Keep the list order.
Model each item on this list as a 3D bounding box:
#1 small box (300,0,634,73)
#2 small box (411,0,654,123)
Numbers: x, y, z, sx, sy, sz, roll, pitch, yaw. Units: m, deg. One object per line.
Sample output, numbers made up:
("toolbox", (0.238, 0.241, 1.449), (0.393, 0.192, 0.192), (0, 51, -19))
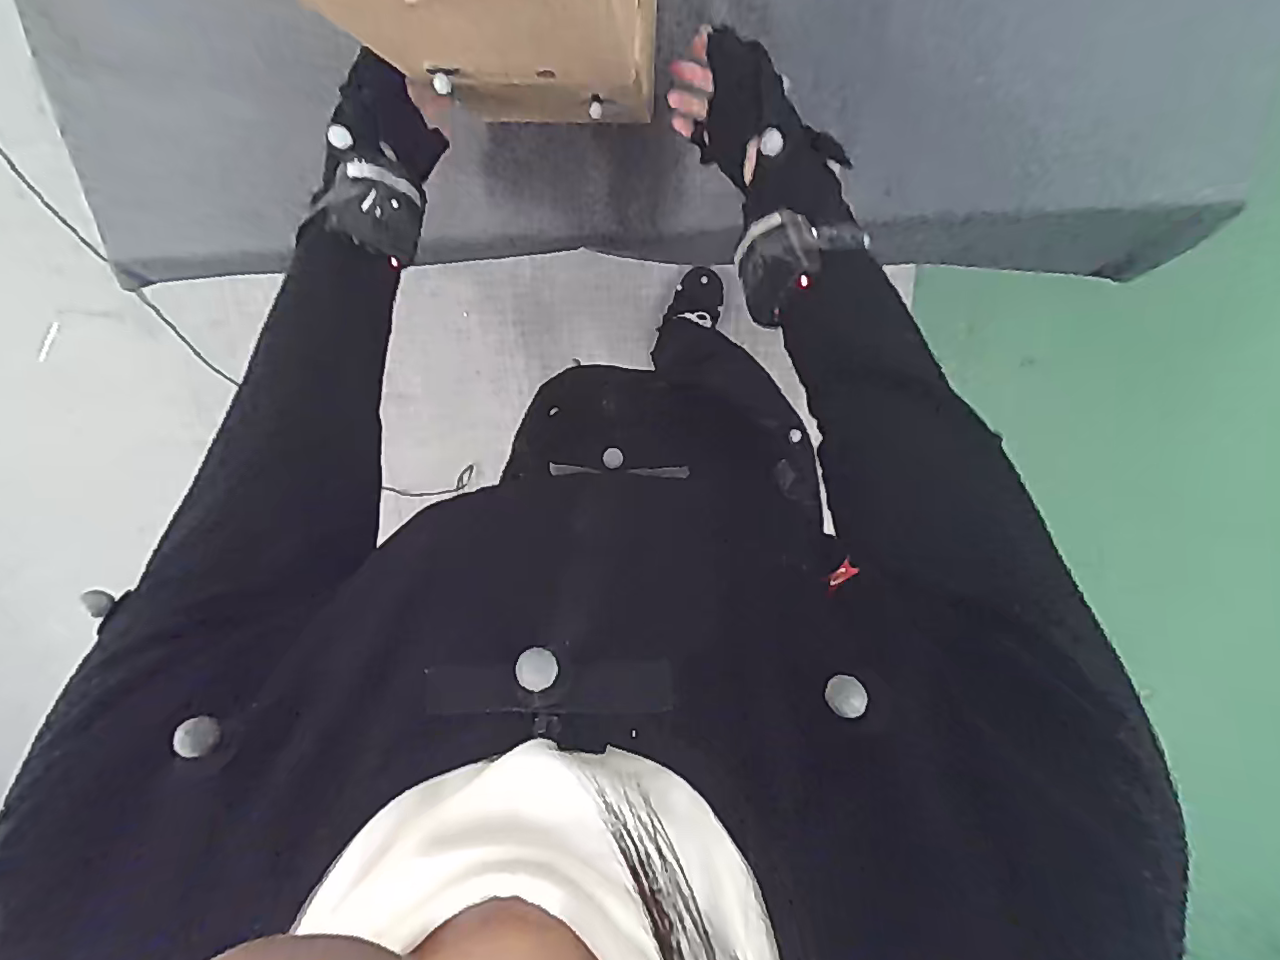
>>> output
("small box", (-0.094, -0.351, 0.298), (0.168, 0.176, 0.179), (0, 111, 5))
("small box", (-0.078, -0.414, 0.449), (0.179, 0.176, 0.168), (3, 110, 5))
